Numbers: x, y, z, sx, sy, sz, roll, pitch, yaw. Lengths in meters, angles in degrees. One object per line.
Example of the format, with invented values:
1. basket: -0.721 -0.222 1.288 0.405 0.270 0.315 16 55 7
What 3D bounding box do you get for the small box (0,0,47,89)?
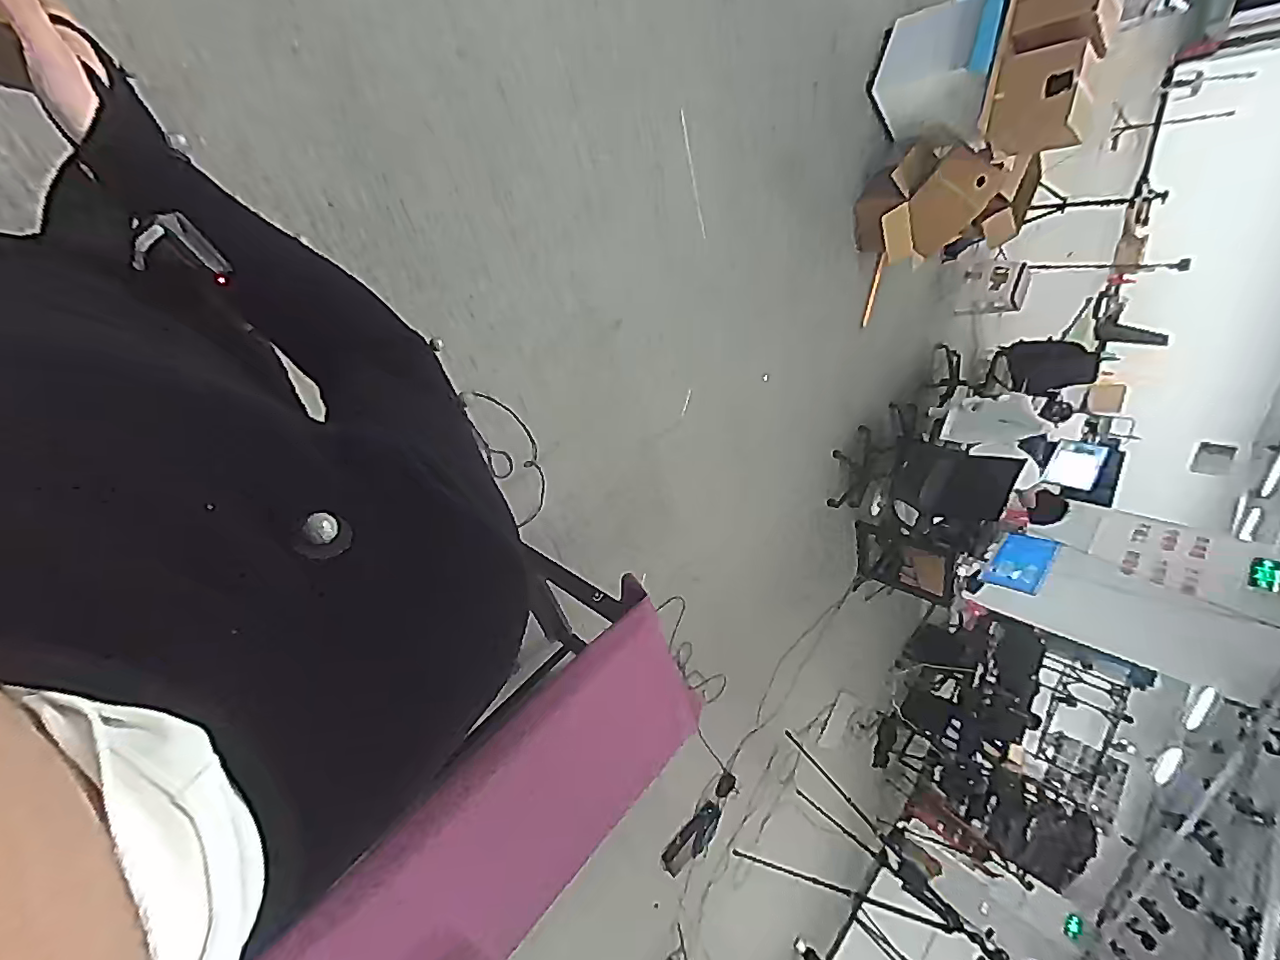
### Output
1. small box: -0.538 -0.402 0.359 0.168 0.176 0.179 -11 112 -40
